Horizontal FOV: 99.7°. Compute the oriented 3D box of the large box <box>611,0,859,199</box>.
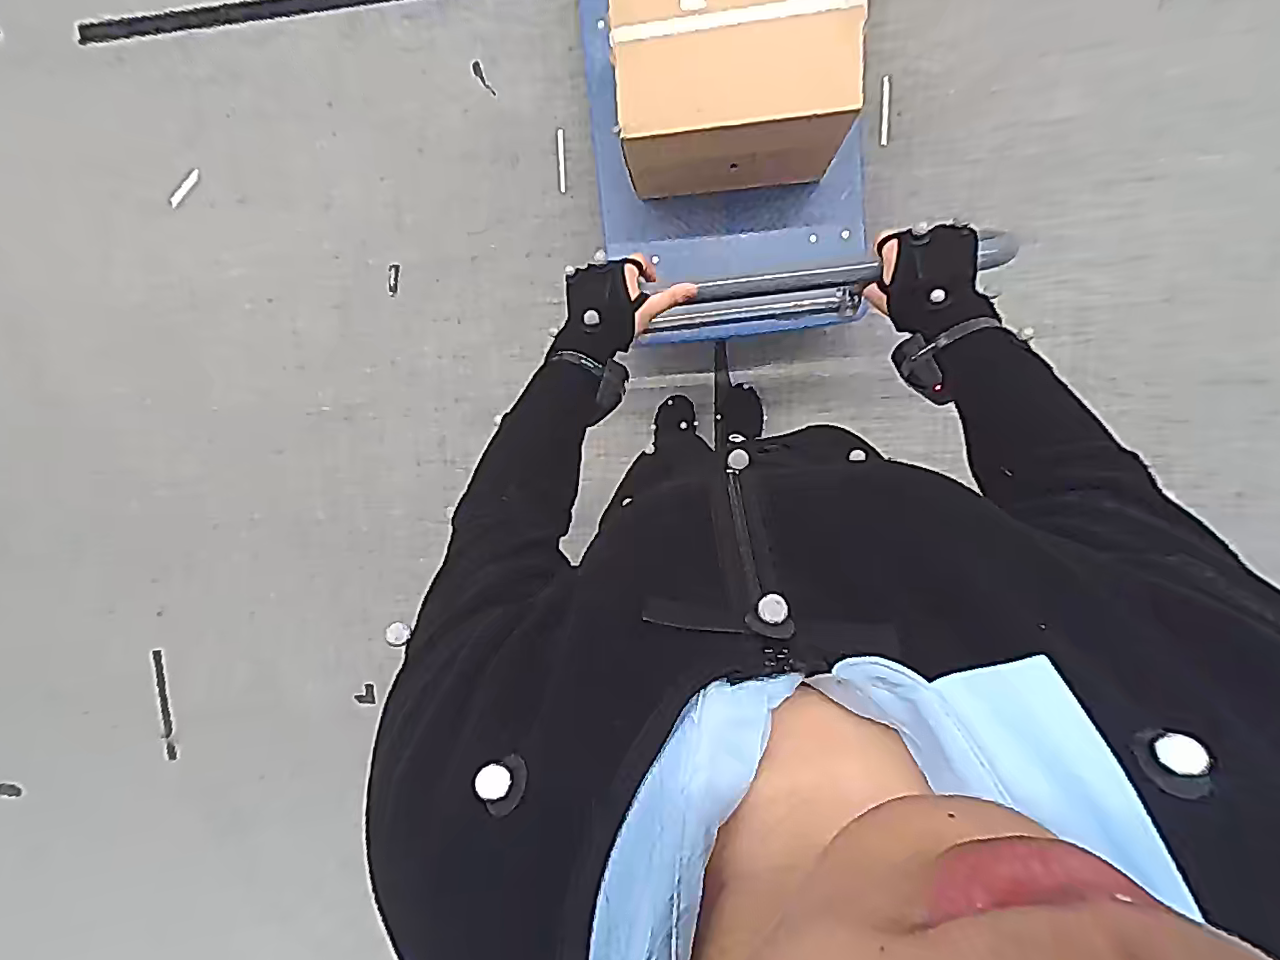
[{"bbox_3d":[0.172,-0.776,1.042,0.408,0.320,0.320,-3,98,7],"label":"large box"}]
